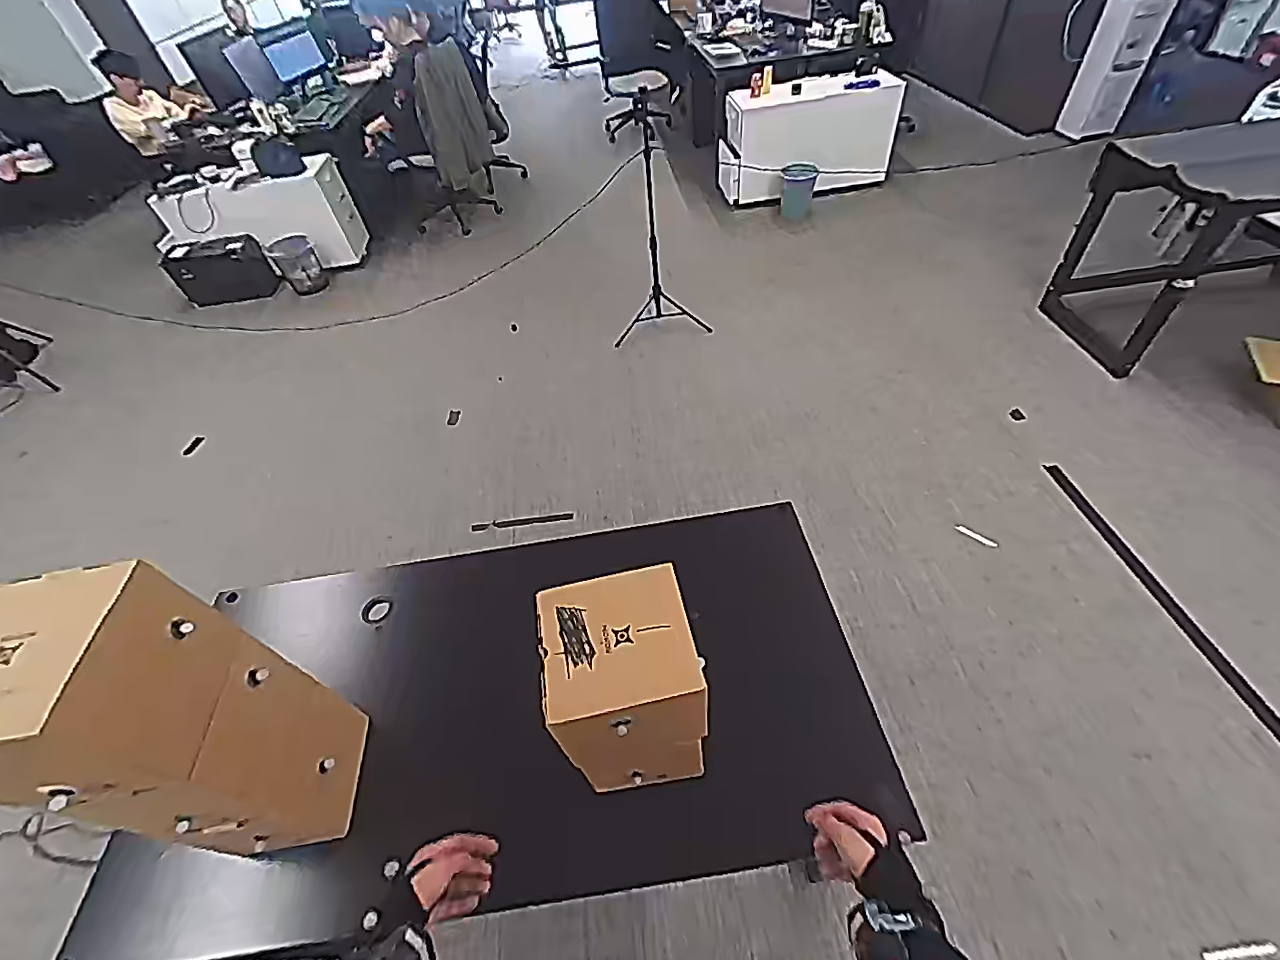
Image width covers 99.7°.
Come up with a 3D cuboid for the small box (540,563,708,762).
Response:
[{"bbox_3d":[-0.018,0.231,0.676,0.179,0.176,0.168,-11,49,-3],"label":"small box"}]

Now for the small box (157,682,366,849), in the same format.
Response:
[{"bbox_3d":[-0.531,0.424,0.794,0.168,0.176,0.179,-10,49,-2],"label":"small box"}]

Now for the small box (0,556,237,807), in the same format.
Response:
[{"bbox_3d":[-0.563,0.206,0.551,0.168,0.176,0.179,-11,49,0],"label":"small box"}]

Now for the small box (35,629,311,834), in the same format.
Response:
[{"bbox_3d":[-0.547,0.313,0.672,0.168,0.176,0.179,-10,48,-1],"label":"small box"}]

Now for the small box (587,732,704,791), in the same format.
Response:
[{"bbox_3d":[-0.002,0.335,0.803,0.168,0.176,0.179,-9,48,-1],"label":"small box"}]
